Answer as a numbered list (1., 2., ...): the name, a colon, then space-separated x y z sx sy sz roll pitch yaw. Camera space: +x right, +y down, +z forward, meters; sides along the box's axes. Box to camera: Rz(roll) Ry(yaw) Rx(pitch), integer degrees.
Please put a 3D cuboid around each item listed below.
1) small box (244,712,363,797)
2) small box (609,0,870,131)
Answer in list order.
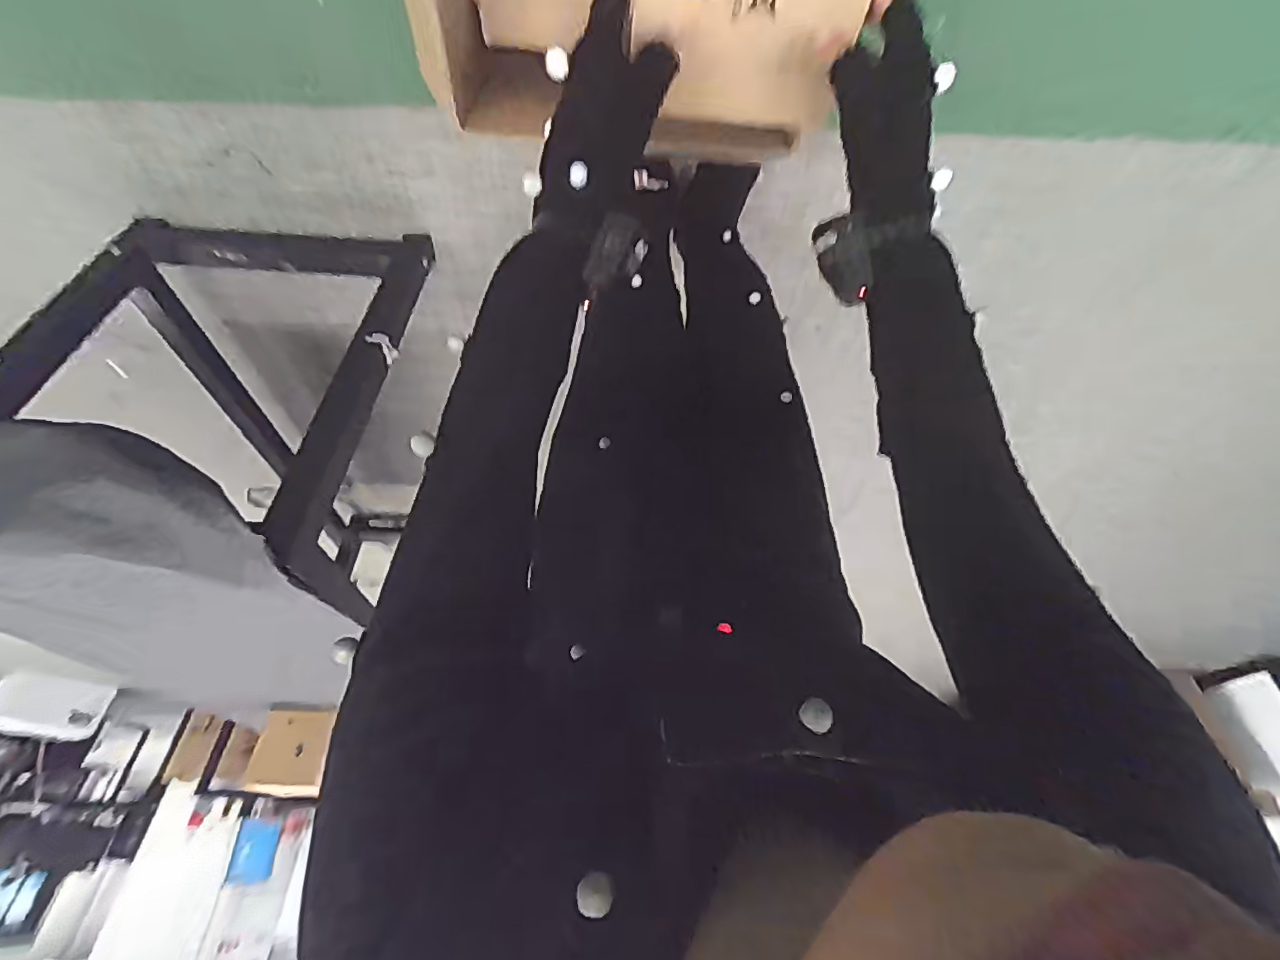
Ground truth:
1. small box: -0.821 0.681 1.338 0.168 0.176 0.179 1 145 0
2. small box: 0.071 -0.402 0.413 0.179 0.176 0.168 1 147 -7
